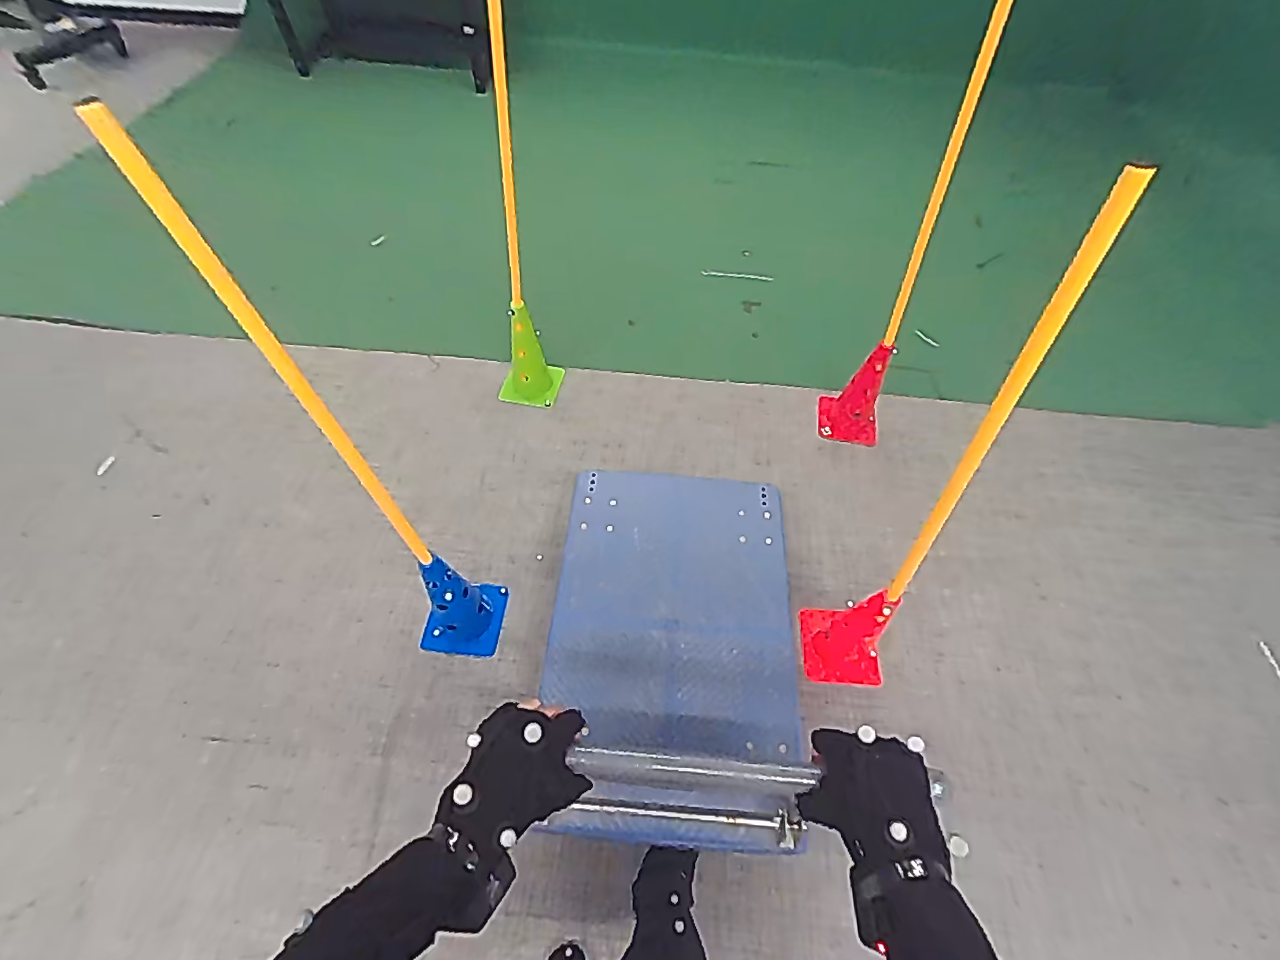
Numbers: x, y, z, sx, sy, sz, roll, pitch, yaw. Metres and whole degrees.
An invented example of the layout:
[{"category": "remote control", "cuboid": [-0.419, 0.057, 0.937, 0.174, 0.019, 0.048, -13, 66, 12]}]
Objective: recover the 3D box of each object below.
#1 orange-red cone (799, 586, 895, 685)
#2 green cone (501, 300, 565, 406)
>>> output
[{"category": "orange-red cone", "cuboid": [0.535, 0.352, 1.324, 0.199, 0.360, 0.198, 4, 55, 3]}, {"category": "green cone", "cuboid": [-0.384, -0.449, 1.831, 0.202, 0.368, 0.200, 9, 55, 5]}]
